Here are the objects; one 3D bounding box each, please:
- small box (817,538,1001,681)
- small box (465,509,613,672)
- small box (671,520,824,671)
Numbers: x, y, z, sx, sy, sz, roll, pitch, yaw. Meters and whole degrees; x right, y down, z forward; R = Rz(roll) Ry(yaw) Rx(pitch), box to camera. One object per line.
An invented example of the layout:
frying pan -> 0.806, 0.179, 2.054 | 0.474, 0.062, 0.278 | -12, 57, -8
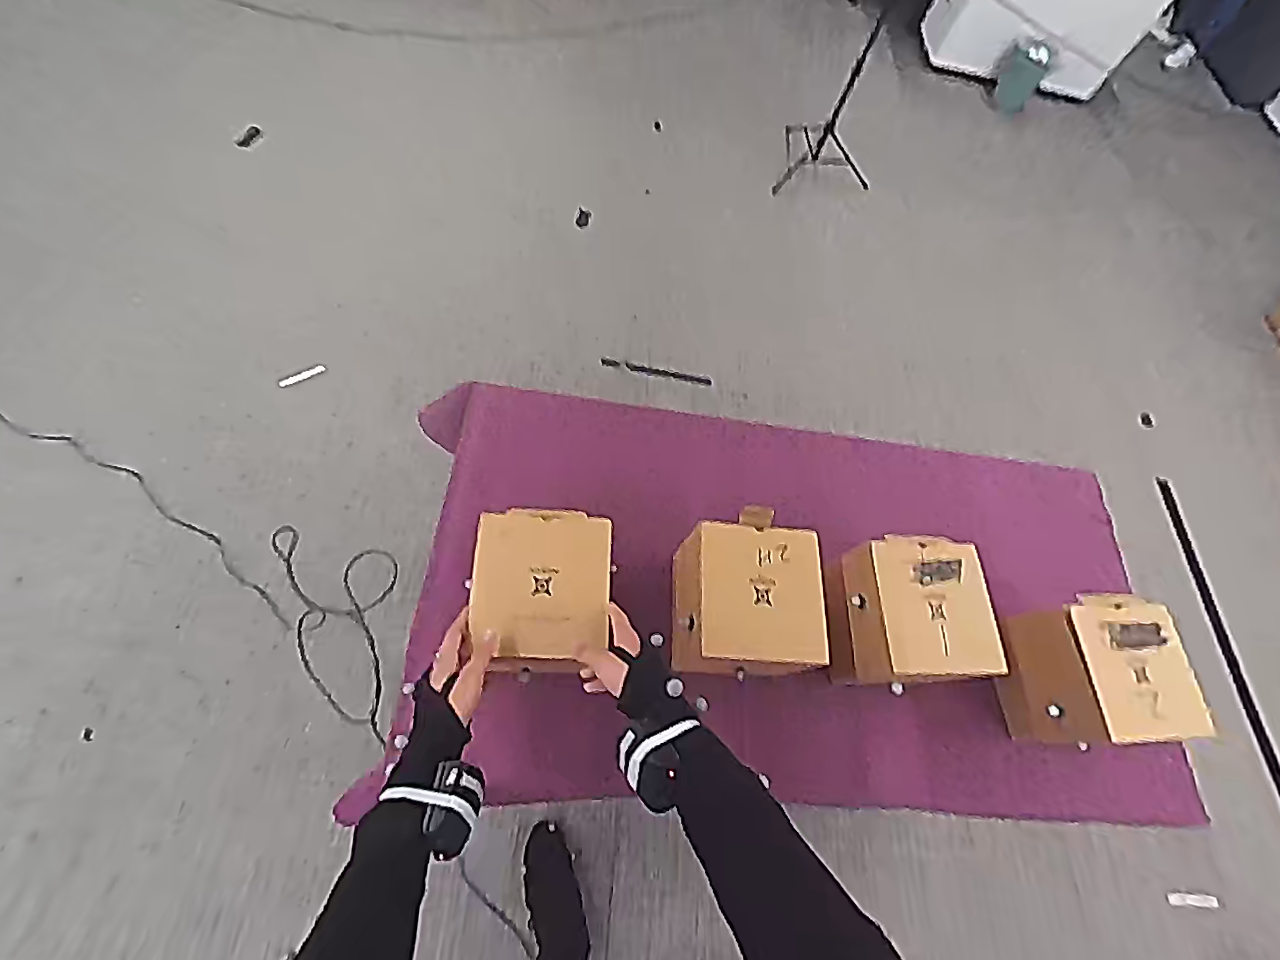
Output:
small box -> 0.380, 0.198, 0.804 | 0.168, 0.176, 0.179 | 3, 66, -9
small box -> -0.130, 0.155, 0.729 | 0.168, 0.176, 0.179 | 4, 64, -8
small box -> 0.142, 0.173, 0.771 | 0.168, 0.176, 0.179 | 6, 64, -8
